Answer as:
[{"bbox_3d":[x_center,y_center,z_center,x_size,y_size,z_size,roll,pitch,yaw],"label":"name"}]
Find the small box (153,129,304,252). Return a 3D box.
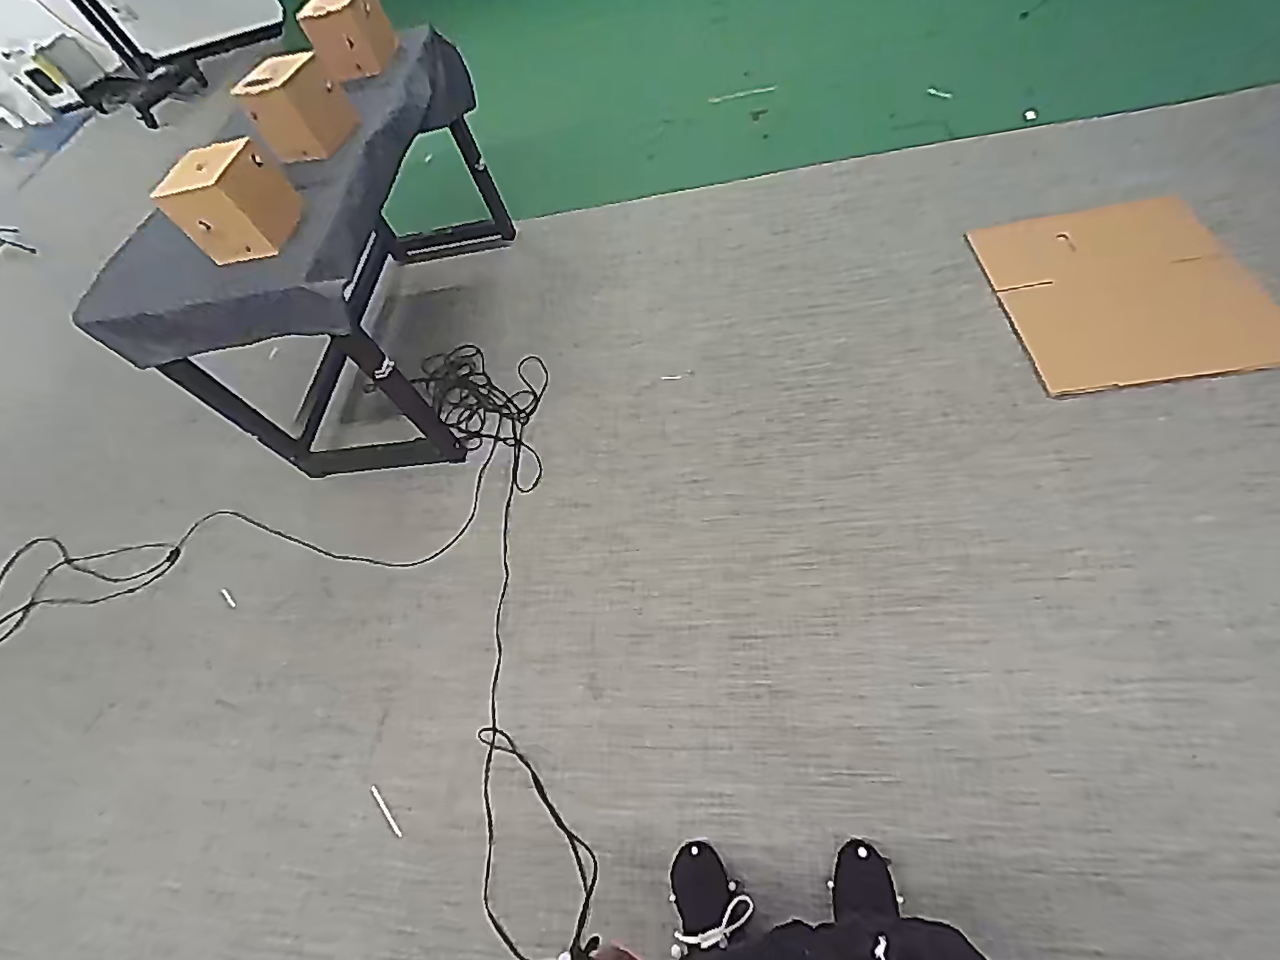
[{"bbox_3d":[-0.880,-0.619,1.179,0.168,0.176,0.179,-4,59,12],"label":"small box"}]

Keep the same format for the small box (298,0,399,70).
[{"bbox_3d":[-0.840,-1.331,1.580,0.168,0.176,0.179,1,60,13],"label":"small box"}]
